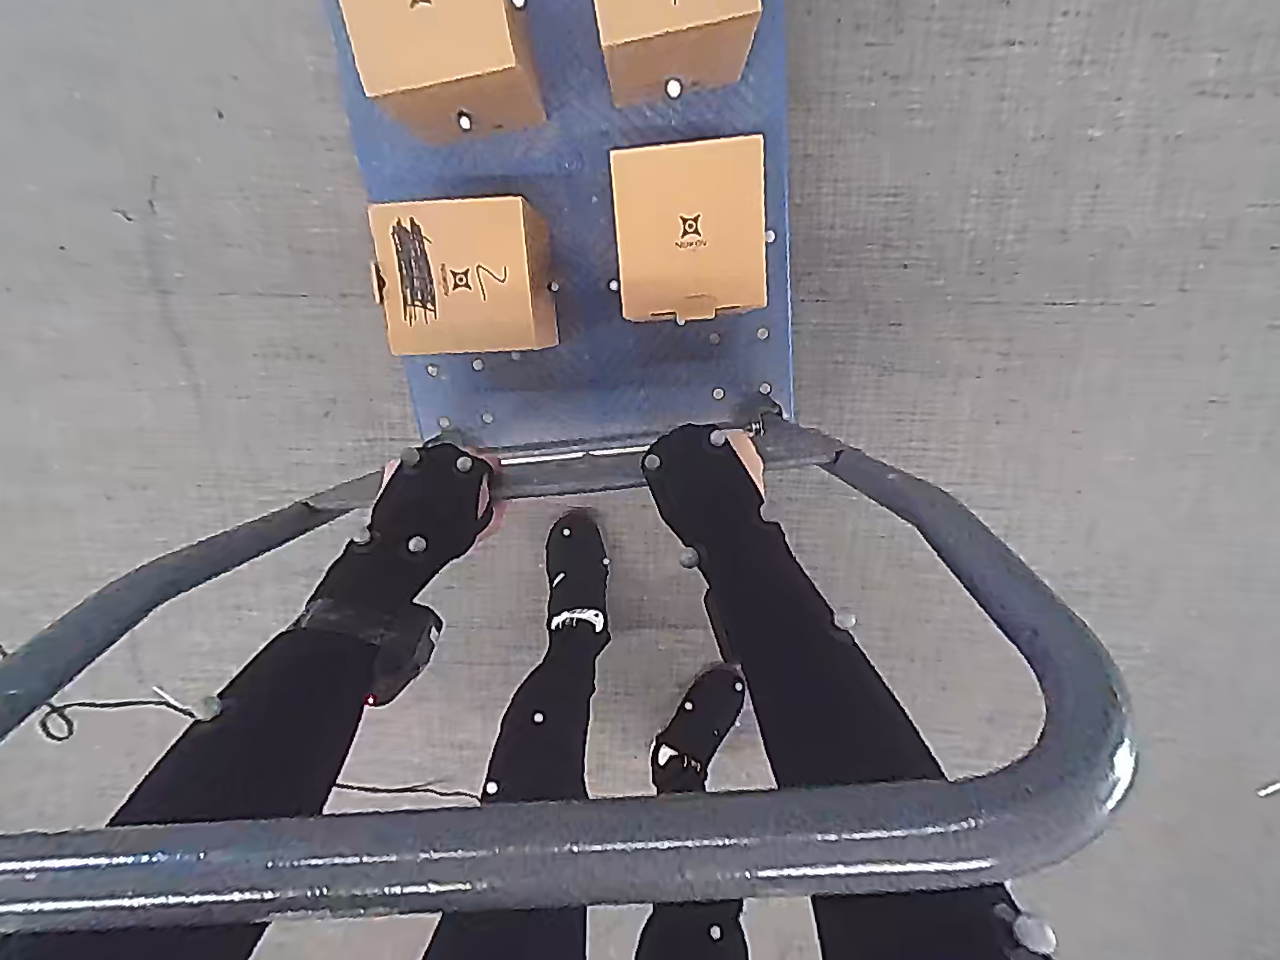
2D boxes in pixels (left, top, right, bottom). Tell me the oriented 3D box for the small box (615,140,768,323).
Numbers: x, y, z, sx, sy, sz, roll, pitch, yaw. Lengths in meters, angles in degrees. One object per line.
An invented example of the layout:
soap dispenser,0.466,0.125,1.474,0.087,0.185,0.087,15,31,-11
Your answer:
small box,0.060,-0.292,0.673,0.168,0.176,0.179,-4,106,3

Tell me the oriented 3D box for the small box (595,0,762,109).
small box,0.032,-0.551,0.598,0.168,0.176,0.179,-8,107,5

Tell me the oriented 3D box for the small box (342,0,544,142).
small box,-0.217,-0.512,0.618,0.168,0.176,0.179,-8,106,3
